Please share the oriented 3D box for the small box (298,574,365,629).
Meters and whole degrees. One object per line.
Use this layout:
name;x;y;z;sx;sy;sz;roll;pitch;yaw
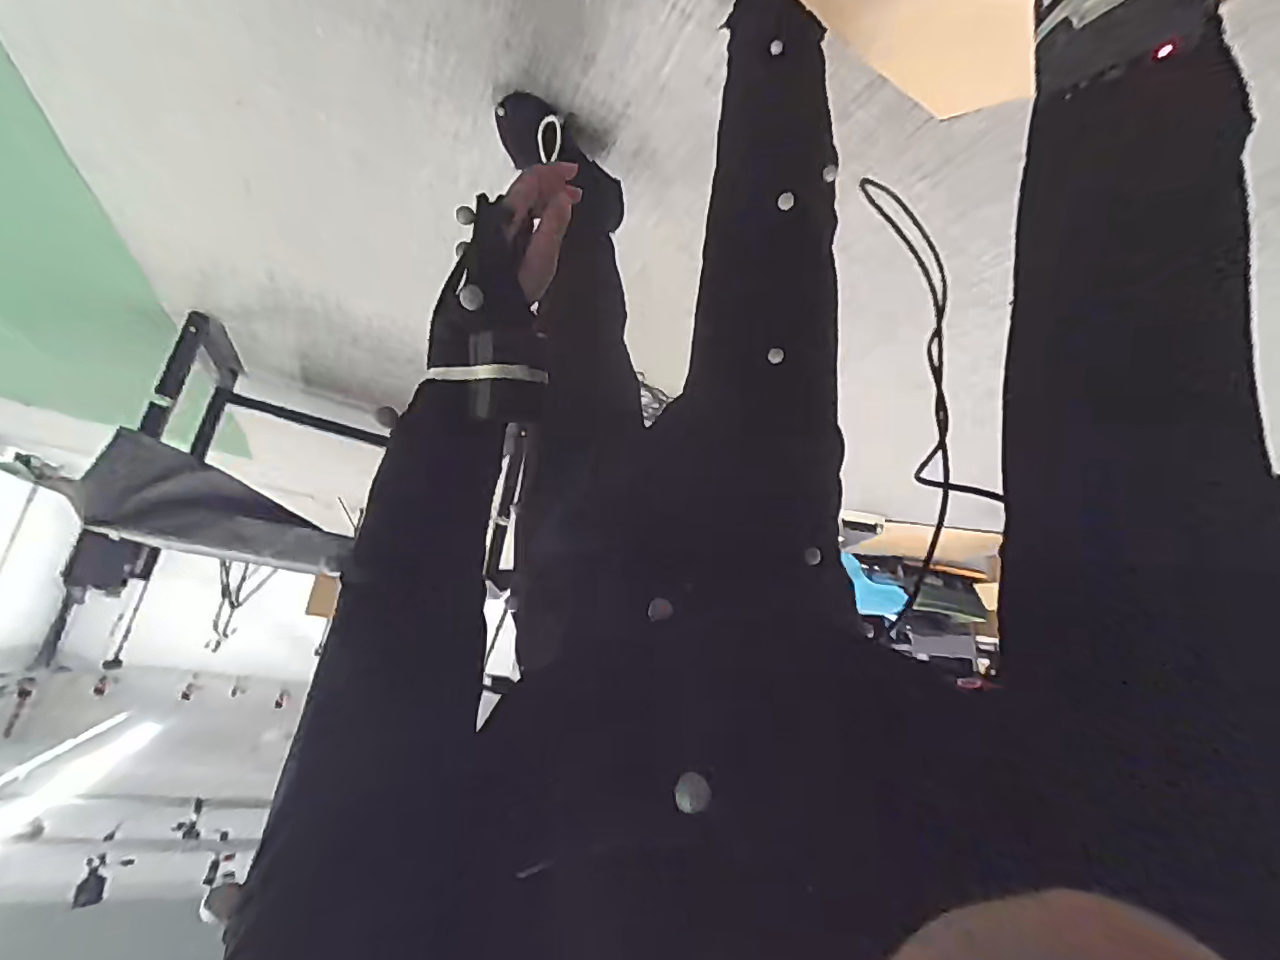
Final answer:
small box;-1.120;0.445;1.978;0.168;0.176;0.179;14;162;-18
